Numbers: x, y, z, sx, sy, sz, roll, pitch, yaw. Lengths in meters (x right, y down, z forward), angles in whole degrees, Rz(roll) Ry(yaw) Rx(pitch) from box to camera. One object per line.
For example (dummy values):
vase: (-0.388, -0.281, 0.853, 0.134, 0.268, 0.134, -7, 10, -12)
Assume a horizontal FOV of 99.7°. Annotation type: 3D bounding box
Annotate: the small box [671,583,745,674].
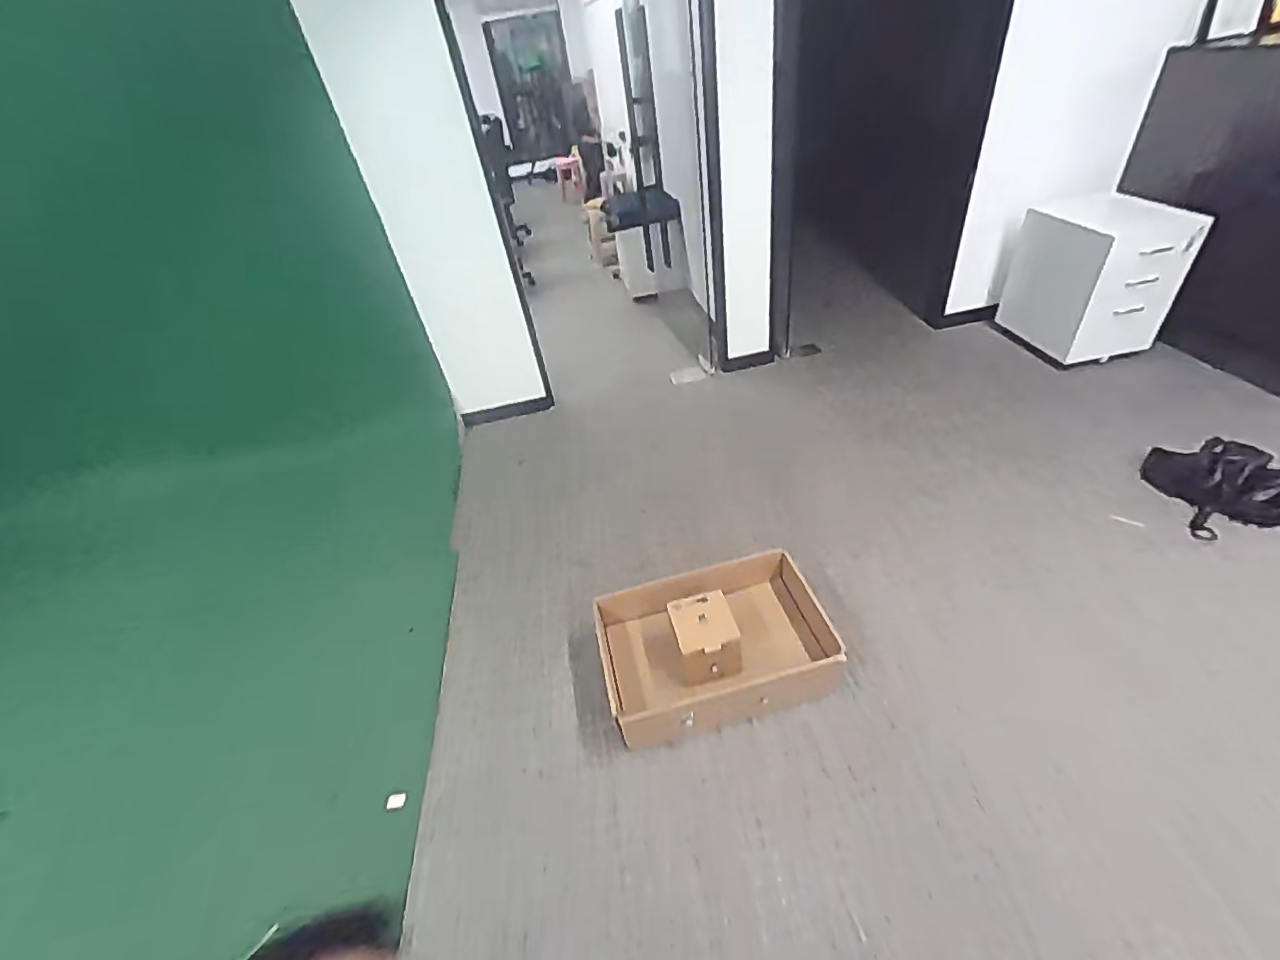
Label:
small box: (0.195, 0.430, 1.538, 0.168, 0.176, 0.179, -14, 40, -4)
